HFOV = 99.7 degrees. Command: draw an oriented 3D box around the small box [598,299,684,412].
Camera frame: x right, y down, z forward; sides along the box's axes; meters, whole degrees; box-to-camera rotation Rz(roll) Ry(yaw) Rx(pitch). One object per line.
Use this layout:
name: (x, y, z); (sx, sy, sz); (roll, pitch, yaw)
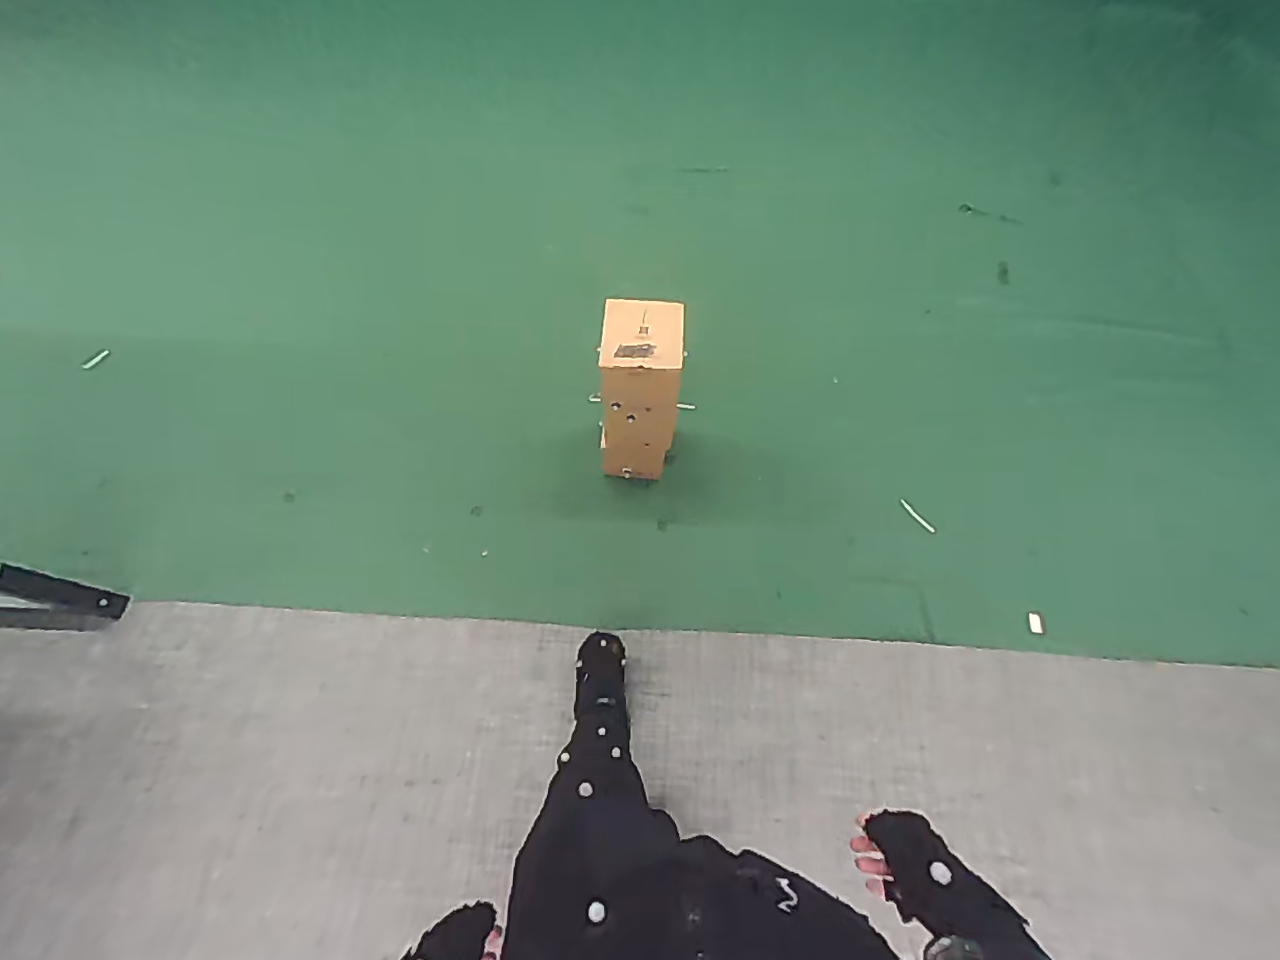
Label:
small box: (0.004, -0.263, 1.169); (0.168, 0.176, 0.179); (4, 64, 0)

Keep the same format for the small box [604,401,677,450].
small box: (0.003, -0.194, 1.319); (0.168, 0.176, 0.179); (4, 64, 0)

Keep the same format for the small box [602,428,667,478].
small box: (-0.010, -0.122, 1.466); (0.168, 0.176, 0.179); (4, 67, 1)
